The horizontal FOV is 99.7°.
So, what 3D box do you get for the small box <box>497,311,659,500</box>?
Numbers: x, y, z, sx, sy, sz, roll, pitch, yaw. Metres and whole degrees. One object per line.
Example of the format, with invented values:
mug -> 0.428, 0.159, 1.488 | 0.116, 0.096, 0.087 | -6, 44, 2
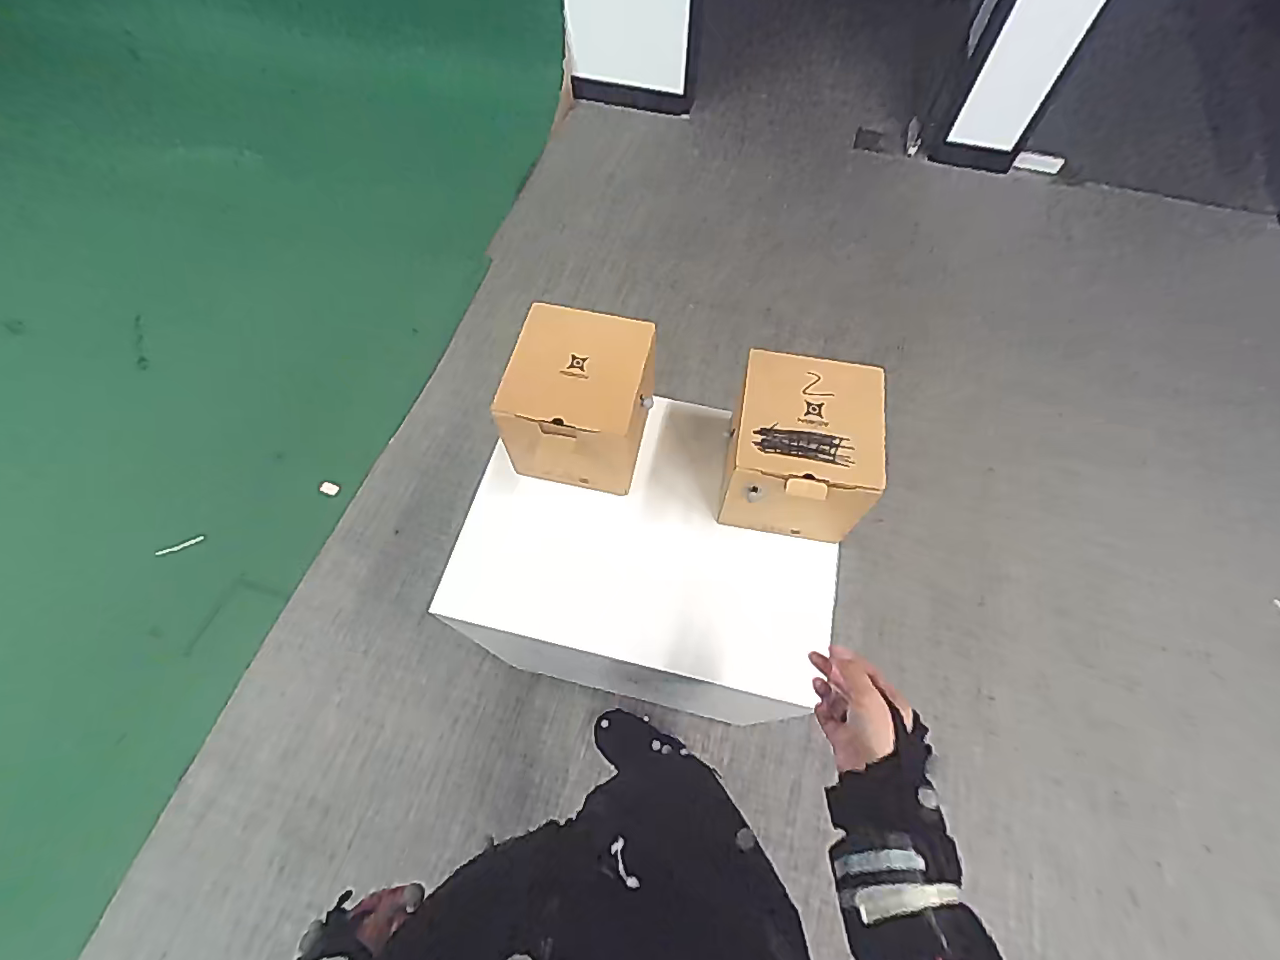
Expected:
small box -> -0.075, -0.095, 0.737 | 0.168, 0.176, 0.179 | 12, 65, 5
